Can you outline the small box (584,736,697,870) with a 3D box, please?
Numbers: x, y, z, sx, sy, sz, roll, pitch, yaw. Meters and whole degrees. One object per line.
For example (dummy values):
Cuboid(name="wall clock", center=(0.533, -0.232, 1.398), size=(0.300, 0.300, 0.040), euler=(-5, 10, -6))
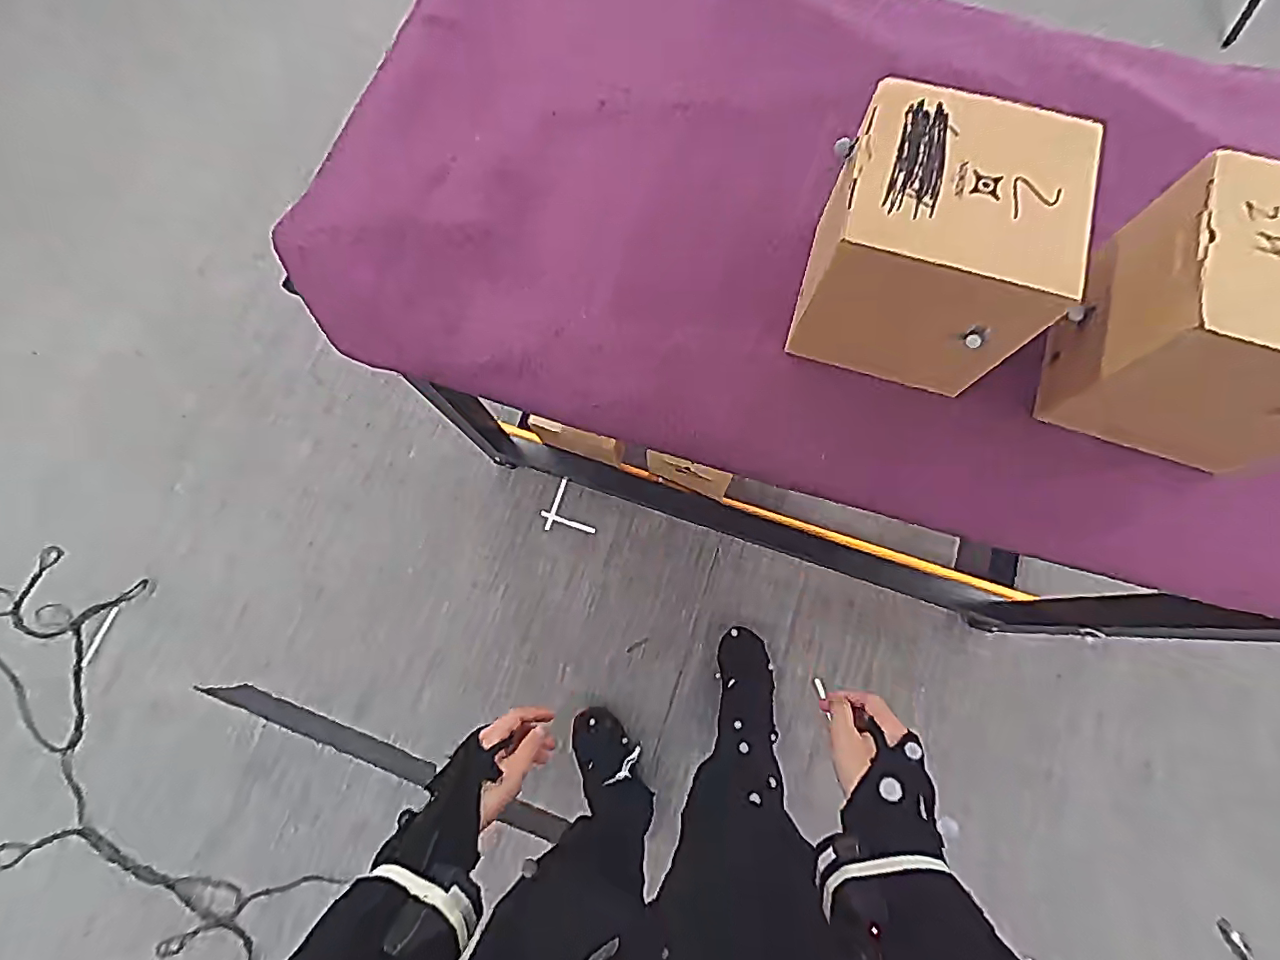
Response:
Cuboid(name="small box", center=(-0.005, 0.608, 1.031), size=(0.179, 0.176, 0.168), euler=(-14, 73, -6))
